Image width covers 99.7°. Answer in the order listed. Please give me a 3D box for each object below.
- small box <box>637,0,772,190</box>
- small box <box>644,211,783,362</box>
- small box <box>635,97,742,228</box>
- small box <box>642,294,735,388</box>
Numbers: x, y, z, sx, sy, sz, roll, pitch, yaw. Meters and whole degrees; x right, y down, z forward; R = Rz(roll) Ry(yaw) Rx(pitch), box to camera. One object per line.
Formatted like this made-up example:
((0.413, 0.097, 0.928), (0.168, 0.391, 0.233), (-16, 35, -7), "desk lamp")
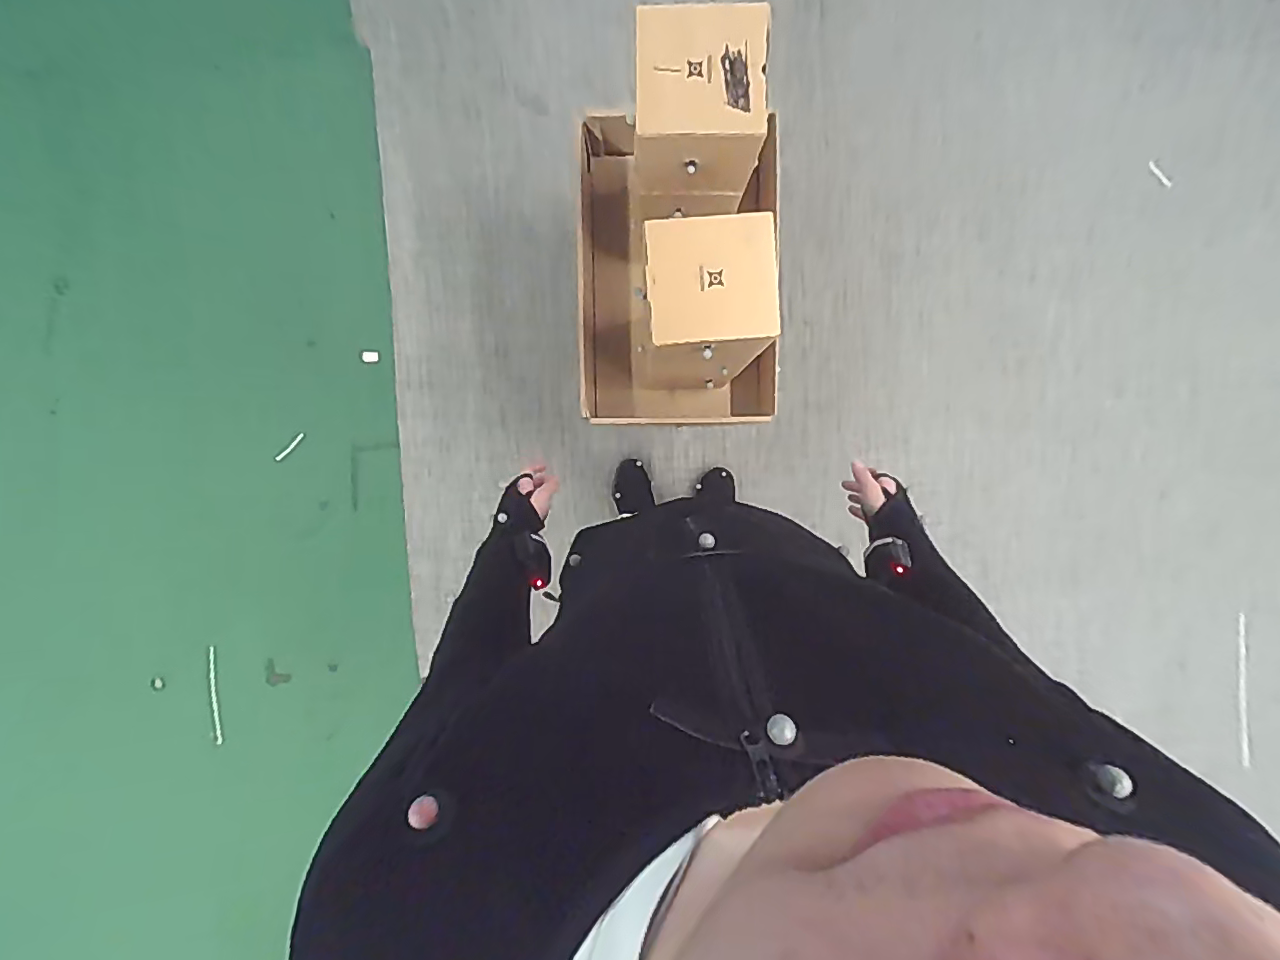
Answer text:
((0.084, -0.543, 0.784), (0.179, 0.176, 0.168), (0, 94, 1), "small box")
((0.099, -0.273, 0.795), (0.179, 0.176, 0.168), (-4, 93, 0), "small box")
((0.083, -0.553, 0.949), (0.179, 0.176, 0.168), (1, 94, 1), "small box")
((0.094, -0.286, 1.121), (0.179, 0.176, 0.168), (-2, 92, 0), "small box")
